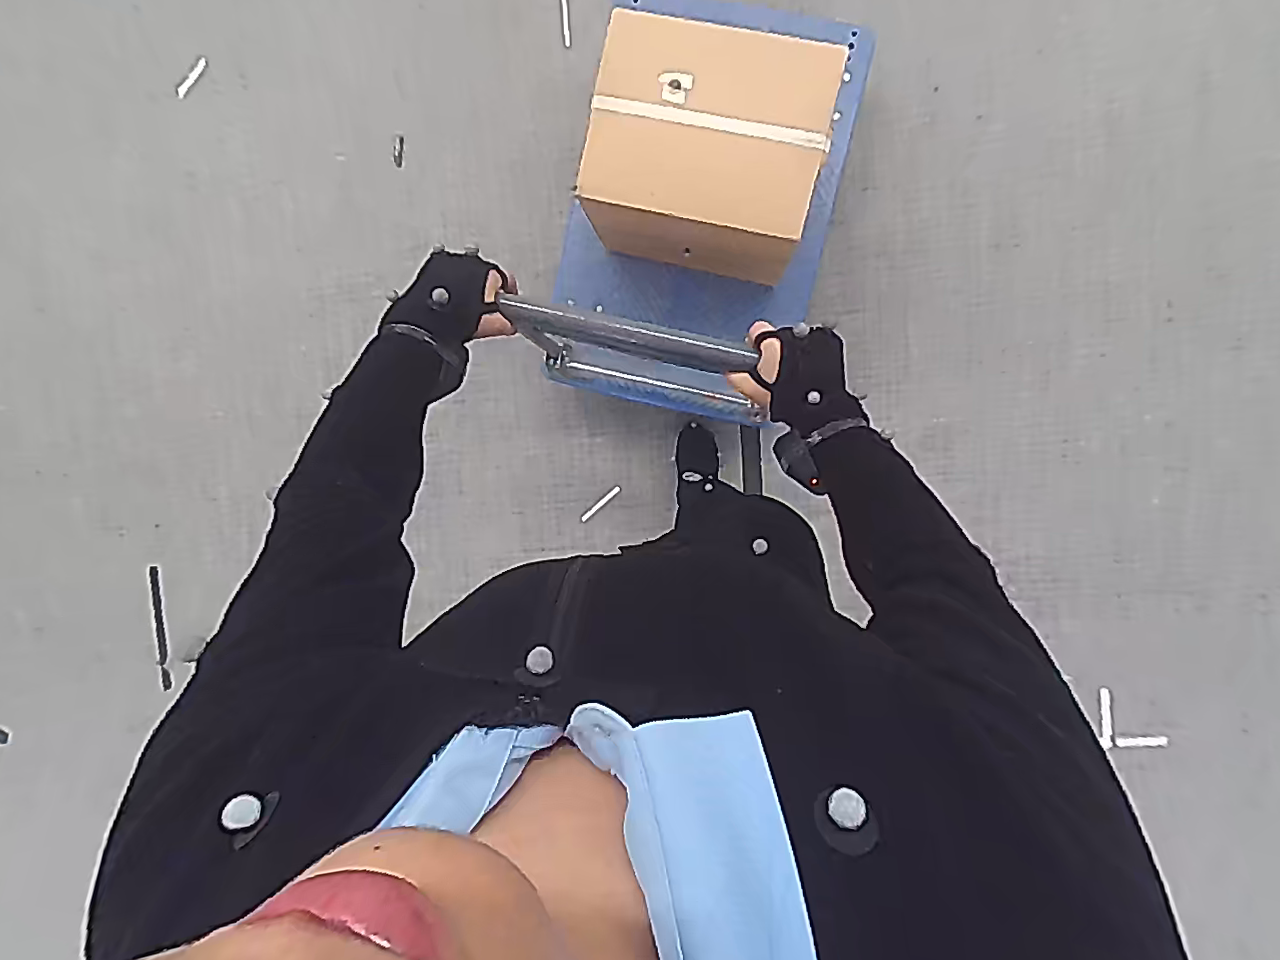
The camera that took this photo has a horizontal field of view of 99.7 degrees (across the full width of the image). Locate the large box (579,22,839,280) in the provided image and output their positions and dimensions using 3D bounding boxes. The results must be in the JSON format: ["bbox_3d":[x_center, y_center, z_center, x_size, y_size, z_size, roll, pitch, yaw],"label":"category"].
[{"bbox_3d":[0.134,-0.626,1.088,0.408,0.320,0.320,14,96,6],"label":"large box"}]
